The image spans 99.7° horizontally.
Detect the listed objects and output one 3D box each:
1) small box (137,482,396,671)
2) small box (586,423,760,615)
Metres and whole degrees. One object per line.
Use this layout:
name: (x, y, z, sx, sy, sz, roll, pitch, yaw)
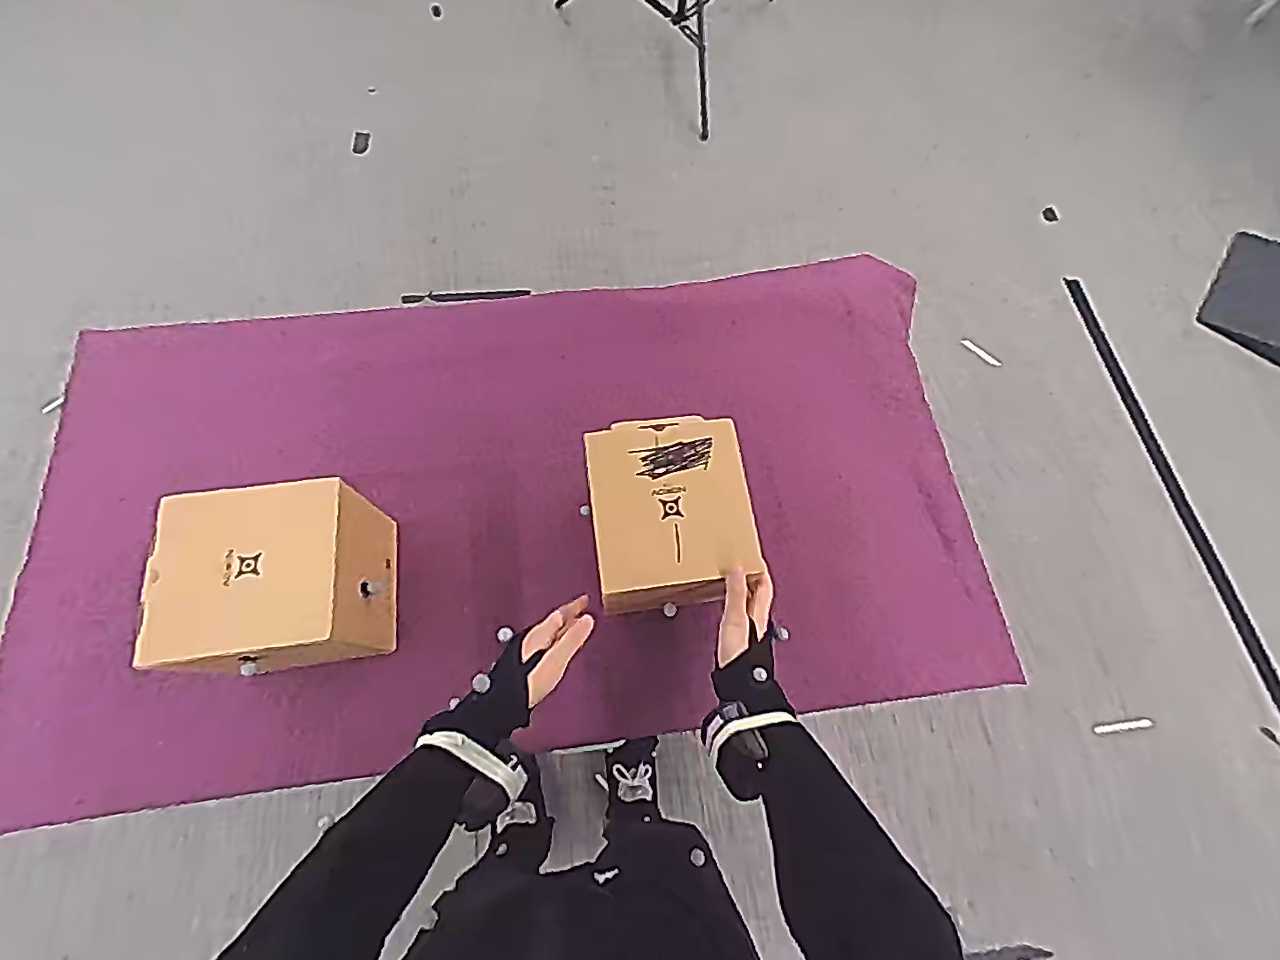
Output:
small box: (-0.386, 0.114, 0.600, 0.179, 0.176, 0.168, -7, 70, -5)
small box: (0.027, 0.053, 0.640, 0.168, 0.176, 0.179, -7, 70, -5)
